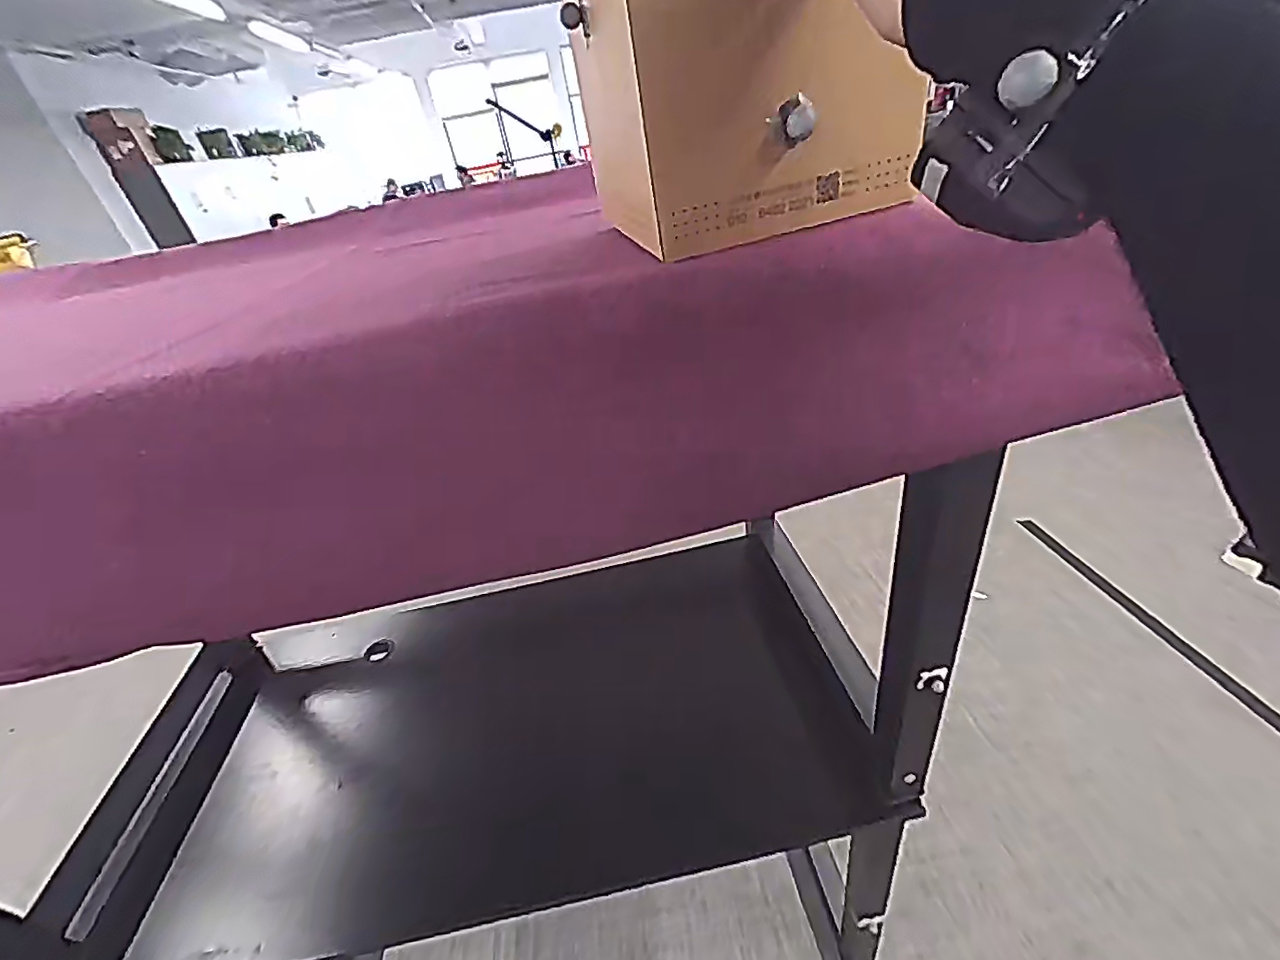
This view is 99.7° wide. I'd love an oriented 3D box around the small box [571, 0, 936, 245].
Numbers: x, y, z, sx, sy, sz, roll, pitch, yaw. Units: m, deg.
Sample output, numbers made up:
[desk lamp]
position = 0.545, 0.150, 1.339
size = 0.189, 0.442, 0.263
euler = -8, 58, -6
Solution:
[small box]
position = 0.056, -0.261, 0.341
size = 0.168, 0.176, 0.179
euler = -17, 37, -7
